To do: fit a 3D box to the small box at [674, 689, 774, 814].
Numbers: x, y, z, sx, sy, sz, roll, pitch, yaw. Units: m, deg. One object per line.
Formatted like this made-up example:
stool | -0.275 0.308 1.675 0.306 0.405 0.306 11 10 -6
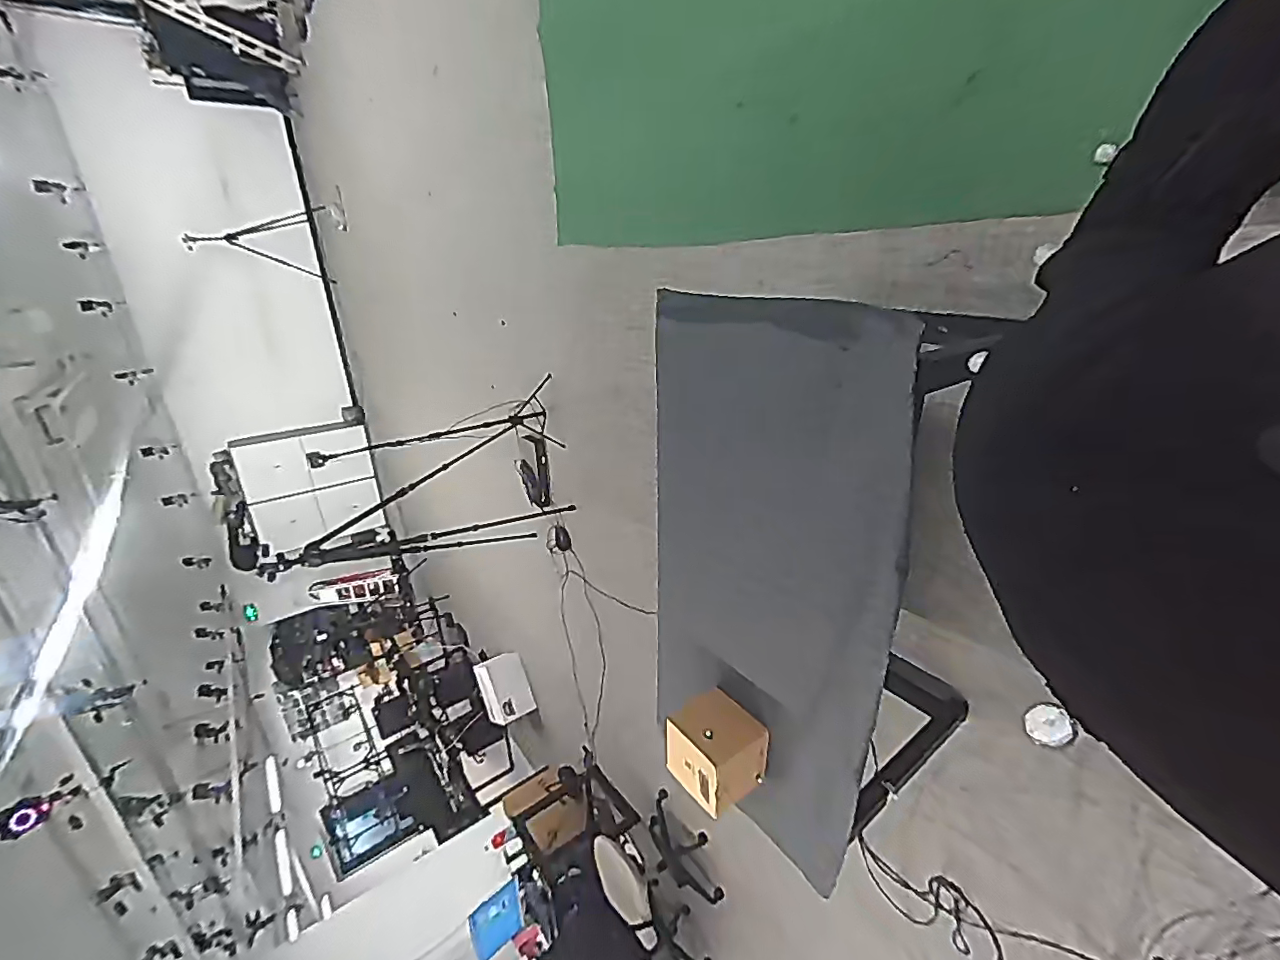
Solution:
small box | 0.200 0.638 1.296 0.179 0.176 0.168 26 125 49
